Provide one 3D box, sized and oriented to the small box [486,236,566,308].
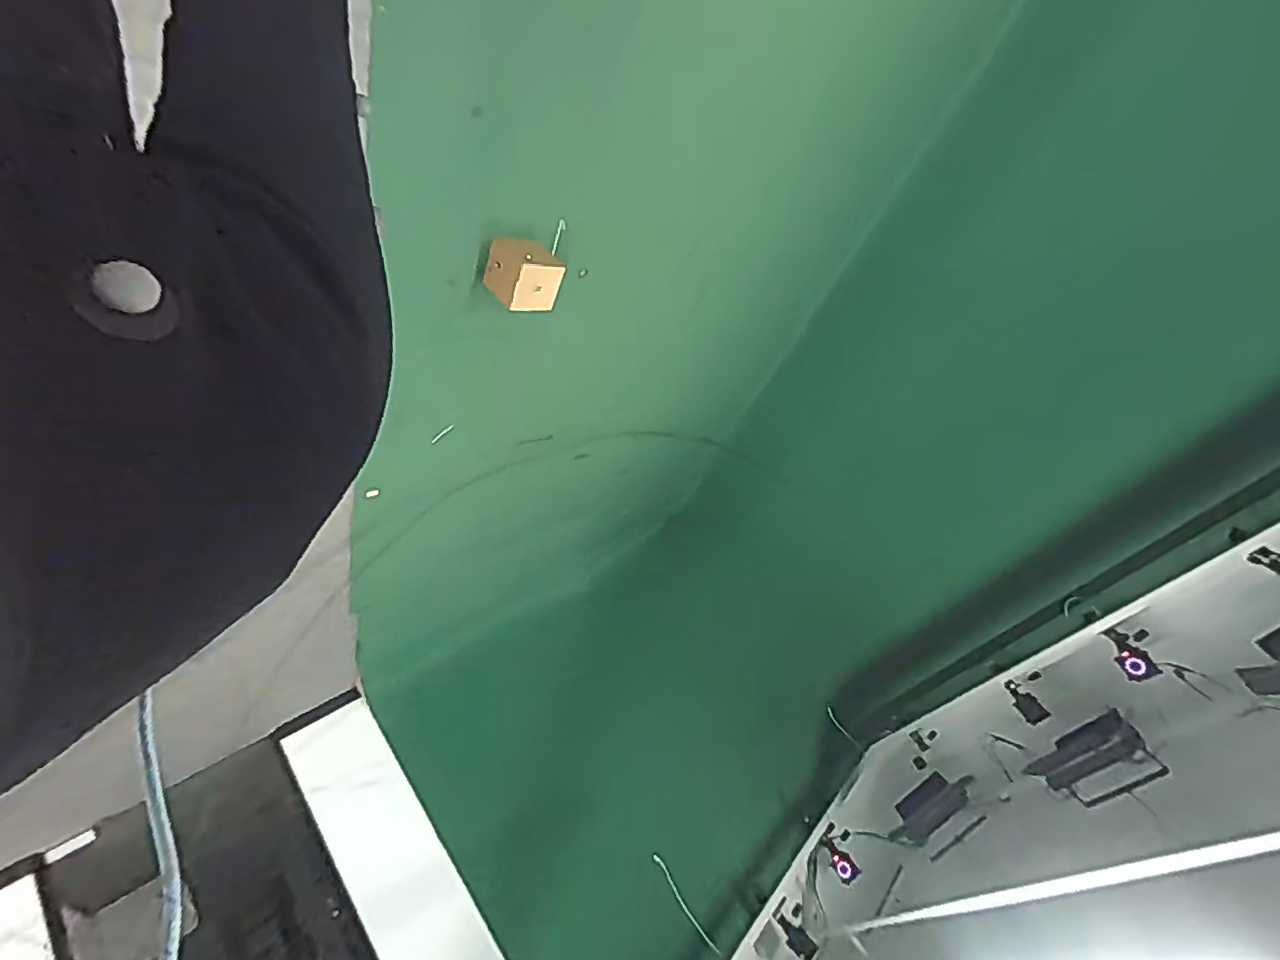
[{"bbox_3d":[-0.382,-0.691,1.799,0.179,0.176,0.168,-19,149,-45],"label":"small box"}]
